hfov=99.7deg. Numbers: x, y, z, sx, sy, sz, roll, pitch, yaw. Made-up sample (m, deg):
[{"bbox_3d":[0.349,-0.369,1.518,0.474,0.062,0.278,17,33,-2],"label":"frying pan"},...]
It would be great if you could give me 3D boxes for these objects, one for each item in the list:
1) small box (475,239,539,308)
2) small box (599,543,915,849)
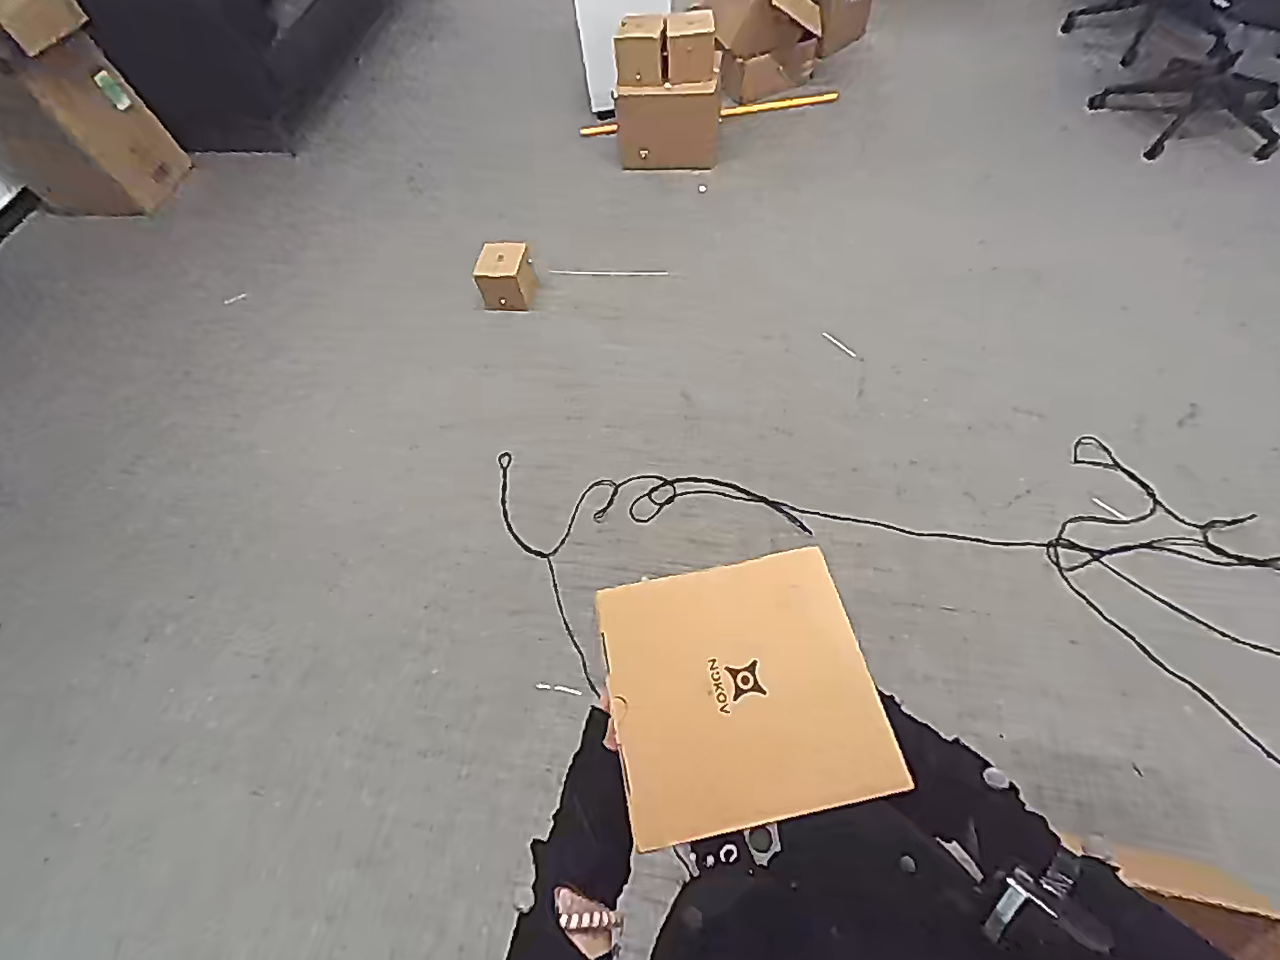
[{"bbox_3d":[-0.489,-0.772,2.022,0.168,0.176,0.179,4,62,9],"label":"small box"},{"bbox_3d":[0.073,0.169,0.429,0.179,0.176,0.168,-12,61,-2],"label":"small box"}]
